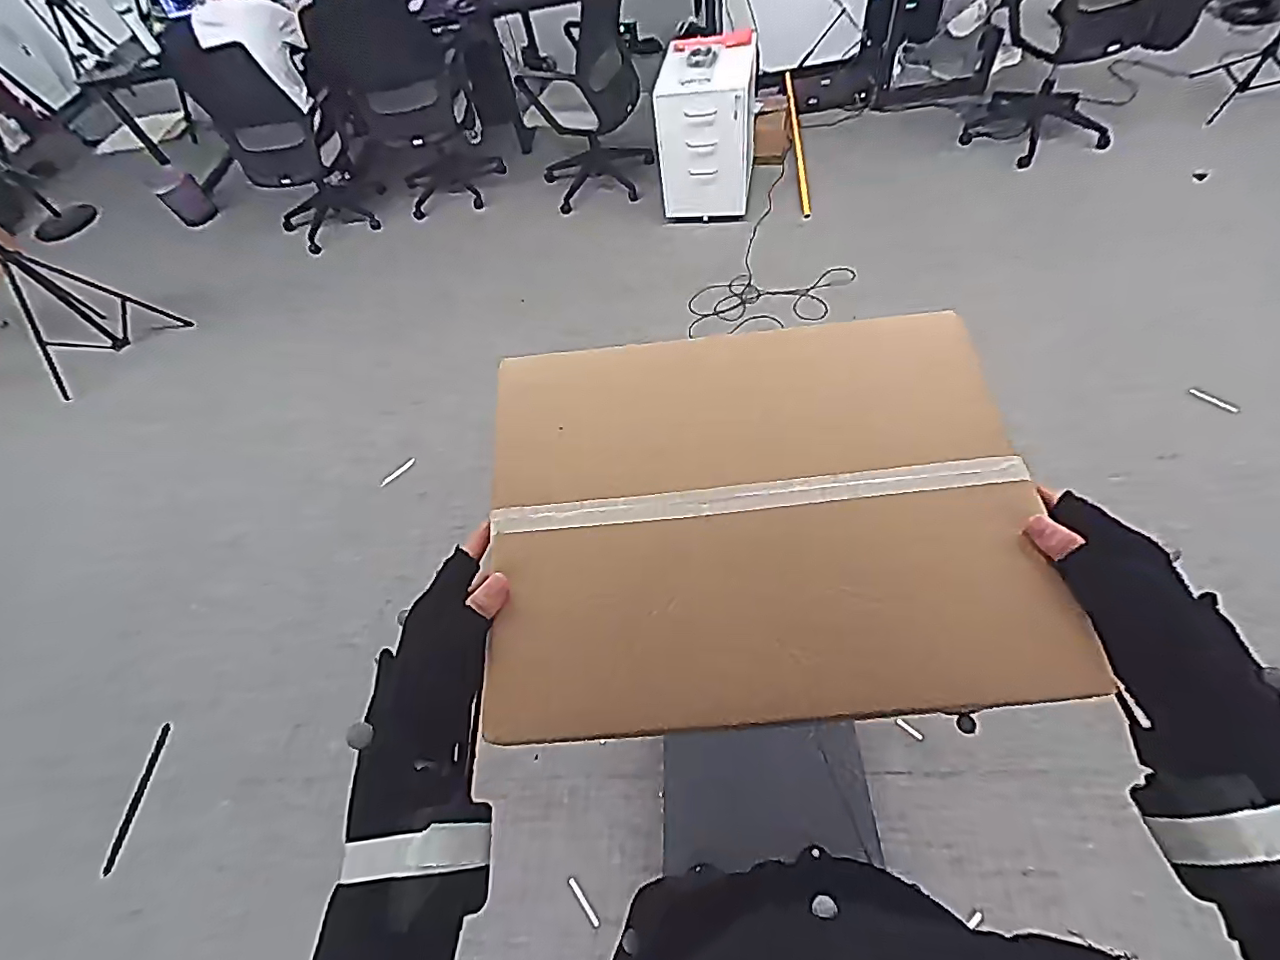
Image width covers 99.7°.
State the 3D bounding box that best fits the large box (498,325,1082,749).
[{"bbox_3d":[0.100,0.083,0.560,0.408,0.320,0.320,-6,64,3],"label":"large box"}]
